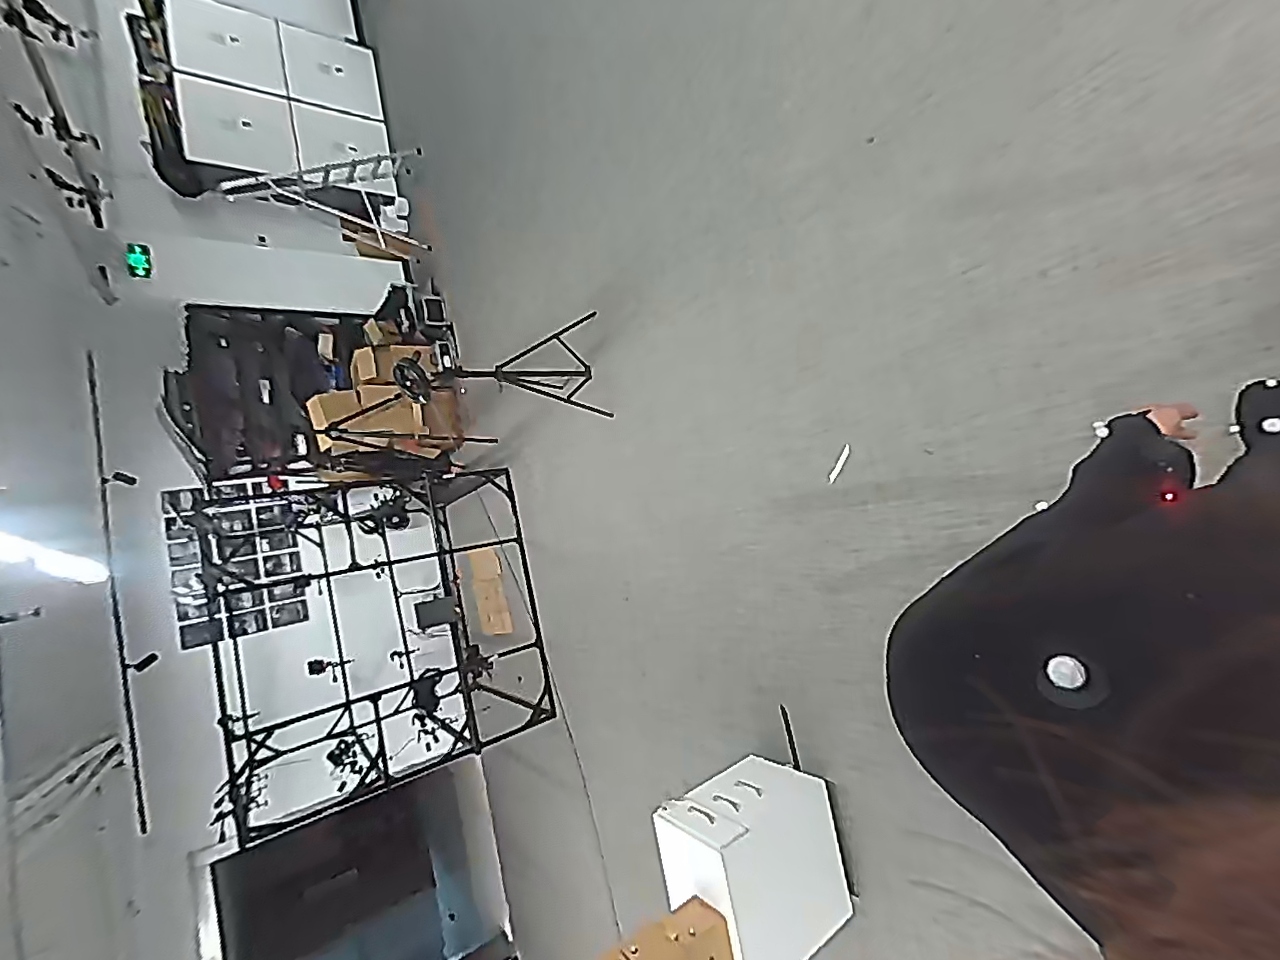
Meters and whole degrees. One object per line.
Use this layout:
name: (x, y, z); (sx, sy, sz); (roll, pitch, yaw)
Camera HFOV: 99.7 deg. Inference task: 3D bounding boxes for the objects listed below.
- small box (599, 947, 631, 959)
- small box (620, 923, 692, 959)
small box: (-0.076, 1.586, 1.631); (0.168, 0.176, 0.179); (-15, 85, 56)
small box: (0.057, 1.573, 1.724); (0.179, 0.176, 0.168); (-13, 88, 56)
